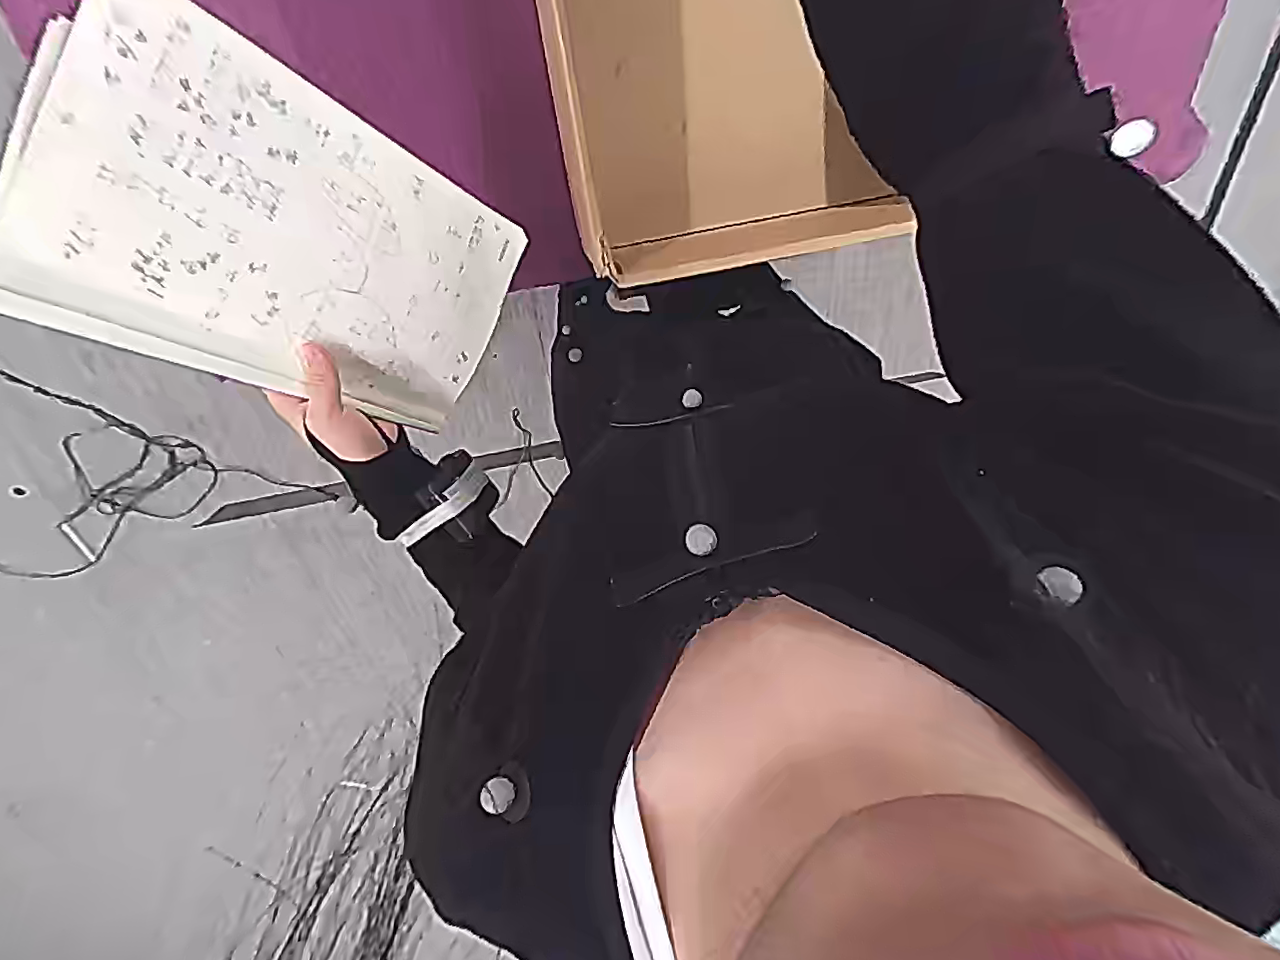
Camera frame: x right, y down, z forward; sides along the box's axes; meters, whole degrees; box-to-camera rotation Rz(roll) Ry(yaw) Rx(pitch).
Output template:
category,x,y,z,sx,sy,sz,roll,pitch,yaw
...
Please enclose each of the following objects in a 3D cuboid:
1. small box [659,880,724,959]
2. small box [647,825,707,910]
category,x,y,z,sx,sy,sz,roll,pitch,yaw
small box,0.162,1.441,1.753,0.168,0.176,0.179,-8,124,-10
small box,0.123,1.344,1.881,0.179,0.176,0.168,-10,125,-10
